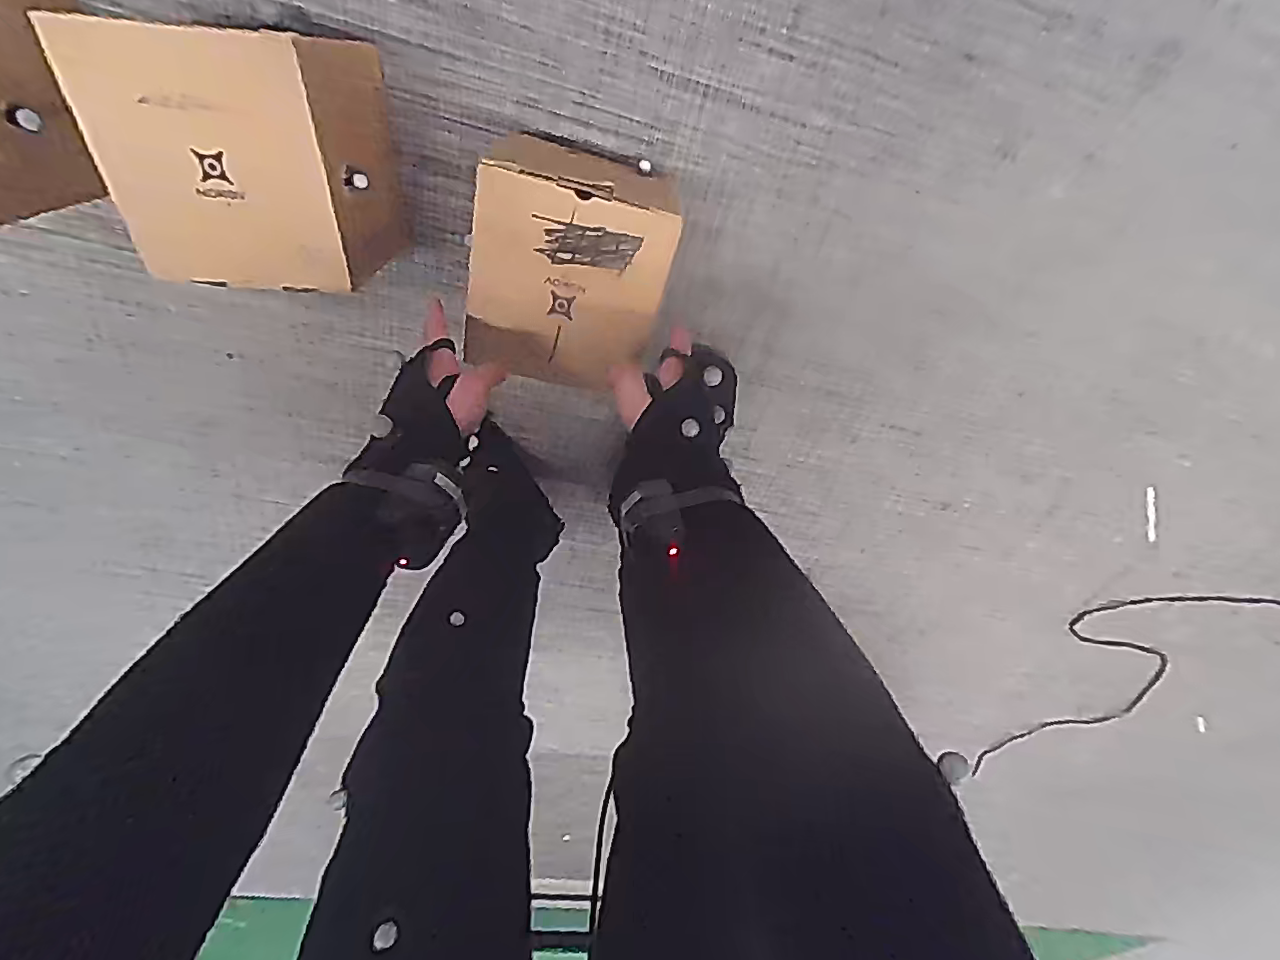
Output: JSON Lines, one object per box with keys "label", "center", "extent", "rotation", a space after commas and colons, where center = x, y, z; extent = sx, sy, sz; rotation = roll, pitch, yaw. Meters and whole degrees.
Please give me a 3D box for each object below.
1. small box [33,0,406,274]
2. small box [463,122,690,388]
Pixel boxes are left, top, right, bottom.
{"label": "small box", "center": [-0.318, -0.295, 0.463], "extent": [0.168, 0.176, 0.179], "rotation": [2, 126, -5]}
{"label": "small box", "center": [-0.062, -0.221, 0.523], "extent": [0.168, 0.176, 0.179], "rotation": [12, 128, -10]}
